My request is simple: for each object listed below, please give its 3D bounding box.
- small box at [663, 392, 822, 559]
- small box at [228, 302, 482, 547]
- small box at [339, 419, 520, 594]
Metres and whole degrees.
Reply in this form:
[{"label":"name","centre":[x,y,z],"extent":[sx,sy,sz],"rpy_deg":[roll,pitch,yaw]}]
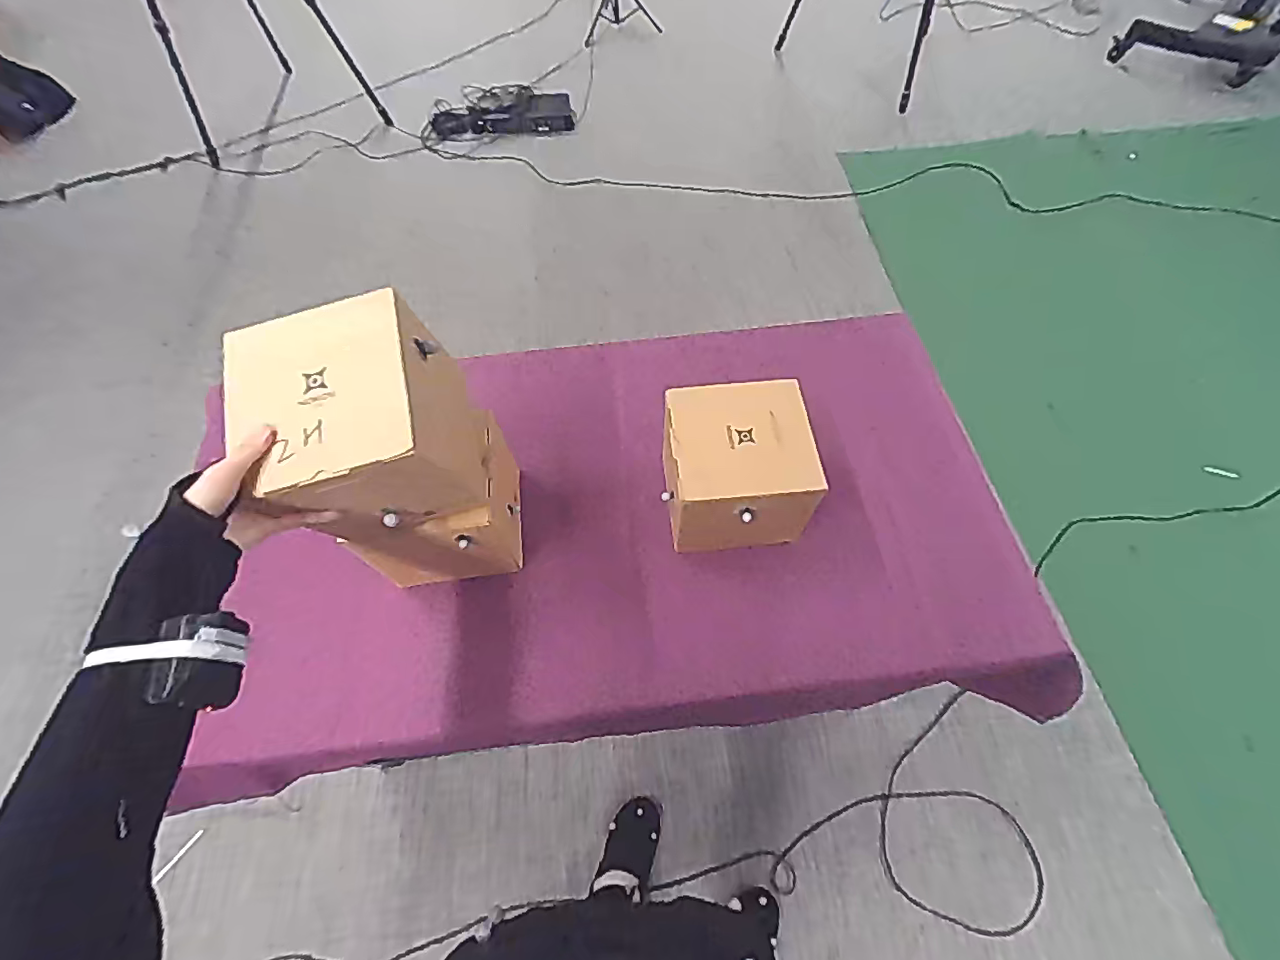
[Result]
[{"label":"small box","centre":[0.125,0.000,0.740],"extent":[0.179,0.176,0.168],"rpy_deg":[-4,61,-2]},{"label":"small box","centre":[-0.281,-0.045,0.559],"extent":[0.168,0.176,0.179],"rpy_deg":[-16,72,1]},{"label":"small box","centre":[-0.267,0.042,0.726],"extent":[0.179,0.176,0.168],"rpy_deg":[-8,60,-4]}]
